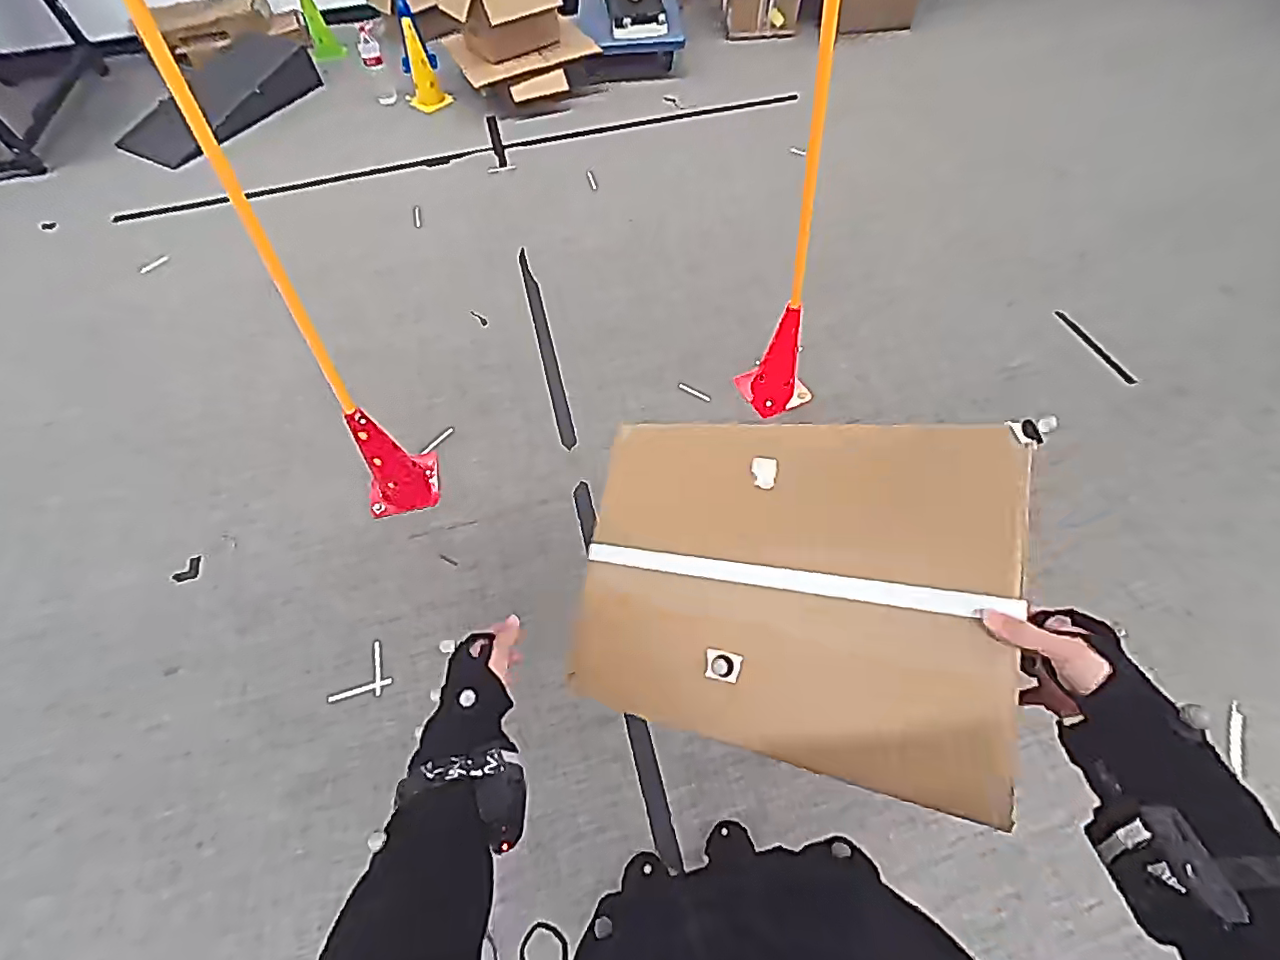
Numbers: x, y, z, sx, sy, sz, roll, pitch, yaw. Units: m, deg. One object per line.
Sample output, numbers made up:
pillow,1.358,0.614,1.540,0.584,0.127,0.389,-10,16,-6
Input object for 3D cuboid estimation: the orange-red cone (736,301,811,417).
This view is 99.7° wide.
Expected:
orange-red cone,0.440,-0.393,1.648,0.199,0.360,0.198,-21,61,-12
